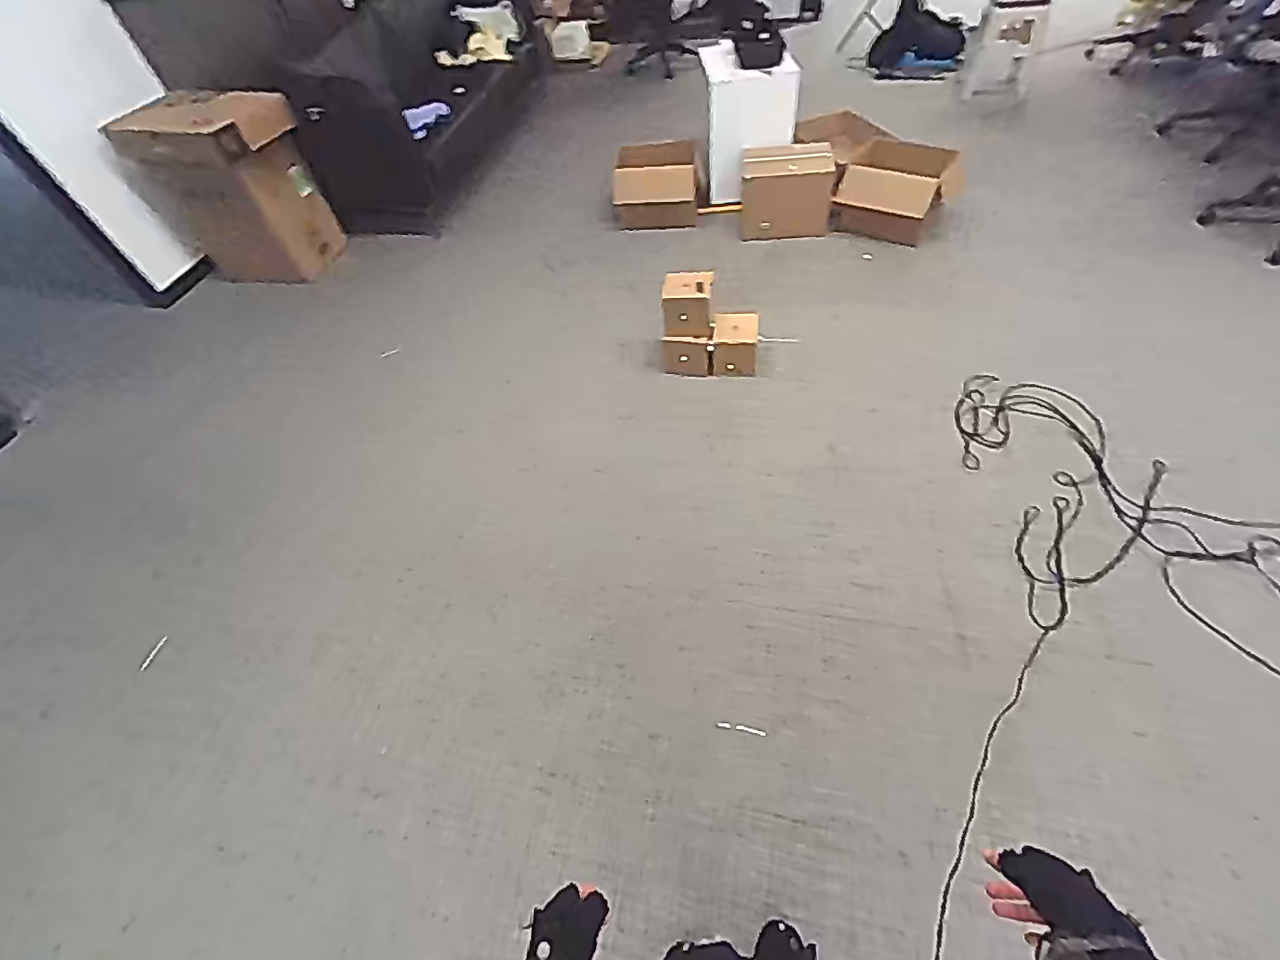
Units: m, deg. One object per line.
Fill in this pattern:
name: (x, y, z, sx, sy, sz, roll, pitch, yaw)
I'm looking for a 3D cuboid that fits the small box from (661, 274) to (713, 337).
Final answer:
small box: (0.182, -0.653, 2.031, 0.179, 0.176, 0.168, 2, 52, 12)
